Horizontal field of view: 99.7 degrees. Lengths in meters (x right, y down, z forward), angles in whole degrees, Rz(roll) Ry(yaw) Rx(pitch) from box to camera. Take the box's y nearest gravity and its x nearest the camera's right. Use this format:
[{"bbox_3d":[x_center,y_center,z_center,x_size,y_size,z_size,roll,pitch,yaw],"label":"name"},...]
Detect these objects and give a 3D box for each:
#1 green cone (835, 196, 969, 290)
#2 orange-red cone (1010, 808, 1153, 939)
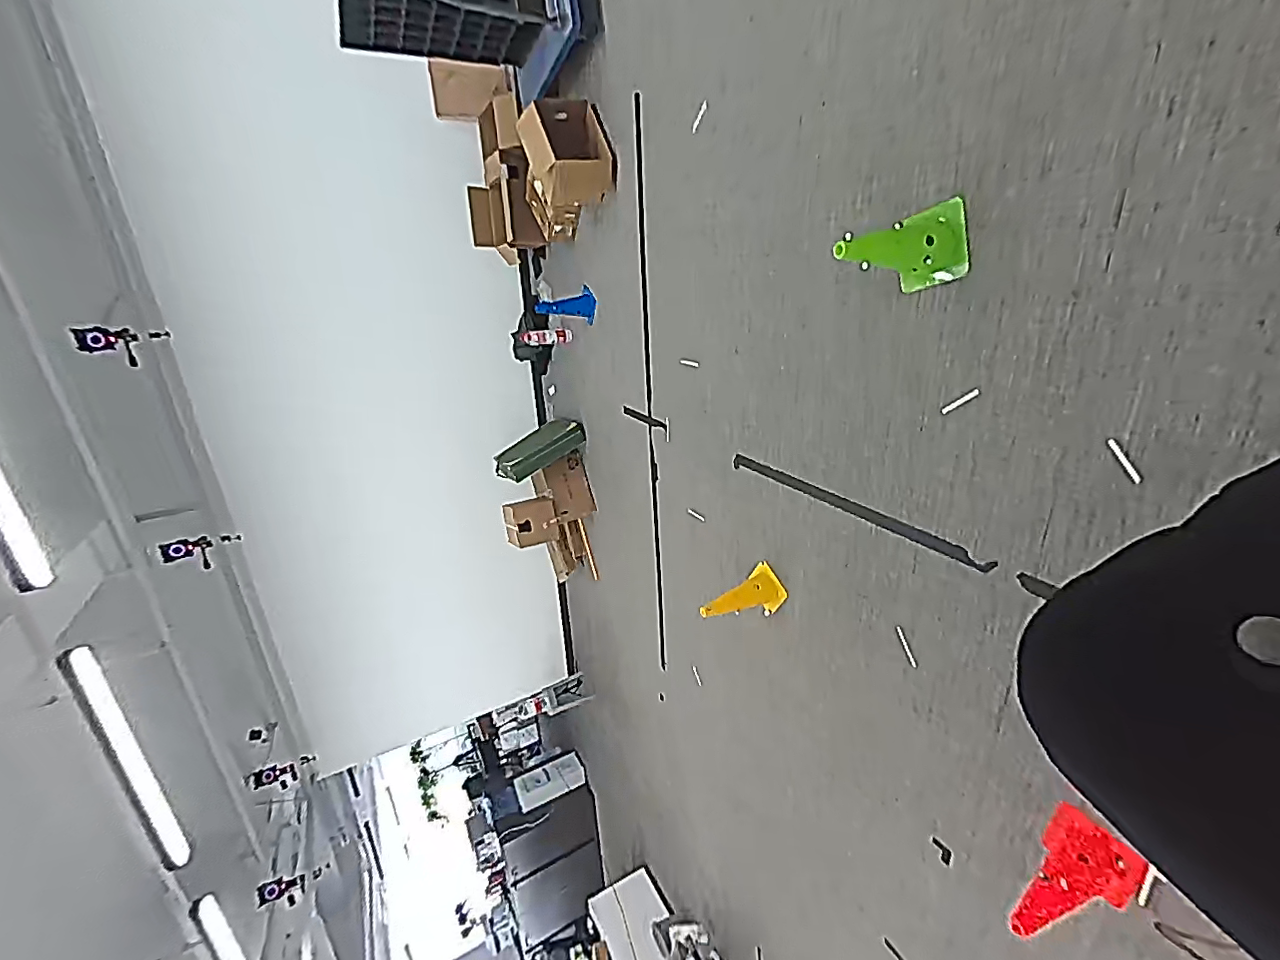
[{"bbox_3d":[0.644,-0.603,1.400,0.202,0.368,0.200,3,105,63],"label":"green cone"},{"bbox_3d":[1.053,1.036,1.359,0.199,0.360,0.198,42,138,52],"label":"orange-red cone"}]
